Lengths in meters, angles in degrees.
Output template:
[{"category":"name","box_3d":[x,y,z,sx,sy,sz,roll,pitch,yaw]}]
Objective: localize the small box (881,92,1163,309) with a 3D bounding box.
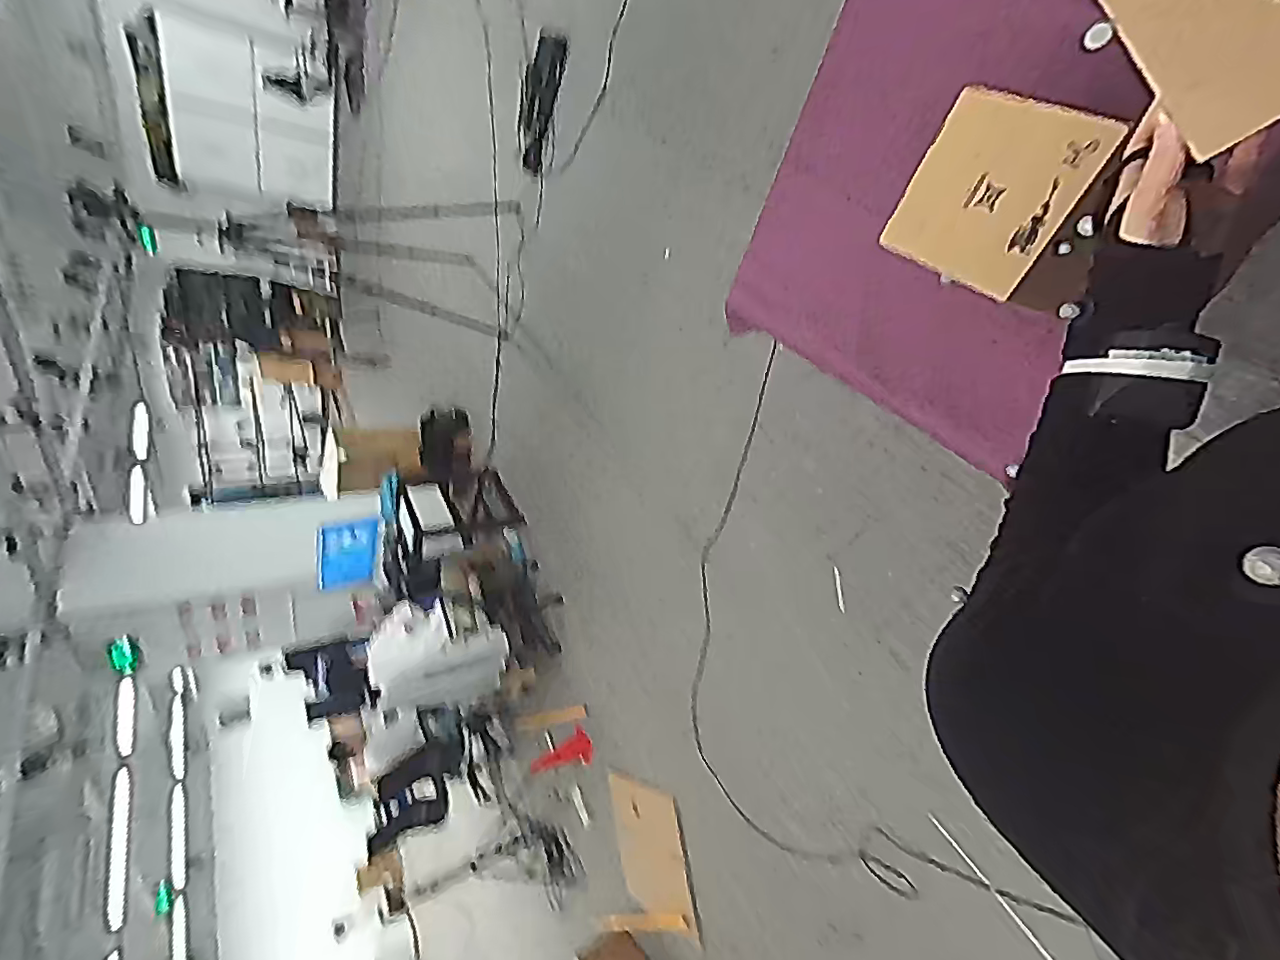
[{"category":"small box","box_3d":[0.431,-0.311,0.623,0.179,0.176,0.168,52,134,37]}]
